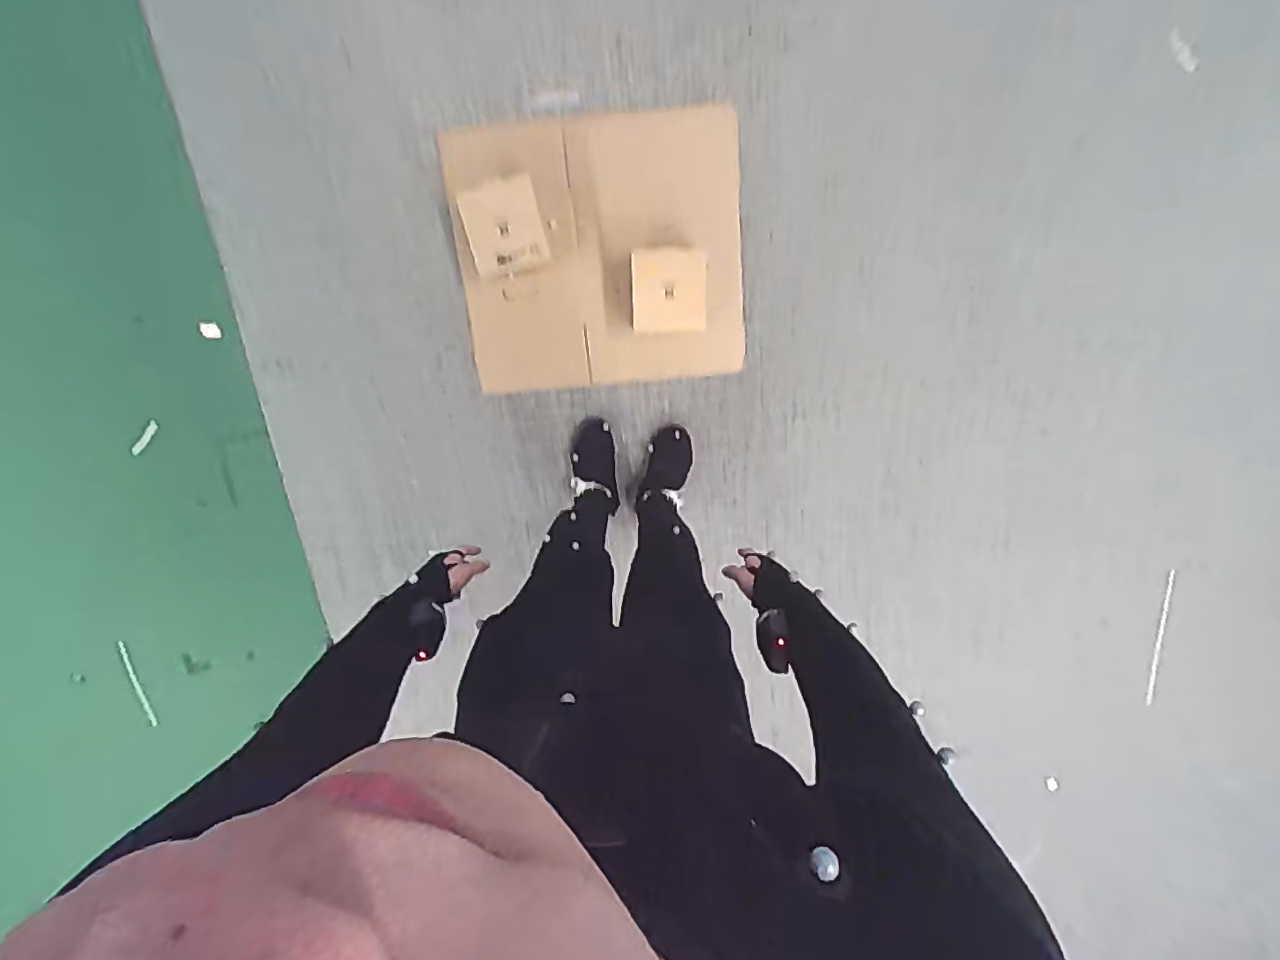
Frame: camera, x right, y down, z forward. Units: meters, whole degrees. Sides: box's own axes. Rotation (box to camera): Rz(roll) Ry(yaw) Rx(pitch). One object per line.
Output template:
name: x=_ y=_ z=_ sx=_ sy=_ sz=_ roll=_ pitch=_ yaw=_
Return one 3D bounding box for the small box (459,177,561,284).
small box: x=-0.286 y=-0.558 z=1.231 sx=0.168 sy=0.176 sz=0.179 roll=-12 pitch=106 yaw=3

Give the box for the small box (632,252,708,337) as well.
small box: x=0.069 y=-0.431 z=1.266 sx=0.168 sy=0.176 sz=0.179 roll=-1 pitch=106 yaw=1
